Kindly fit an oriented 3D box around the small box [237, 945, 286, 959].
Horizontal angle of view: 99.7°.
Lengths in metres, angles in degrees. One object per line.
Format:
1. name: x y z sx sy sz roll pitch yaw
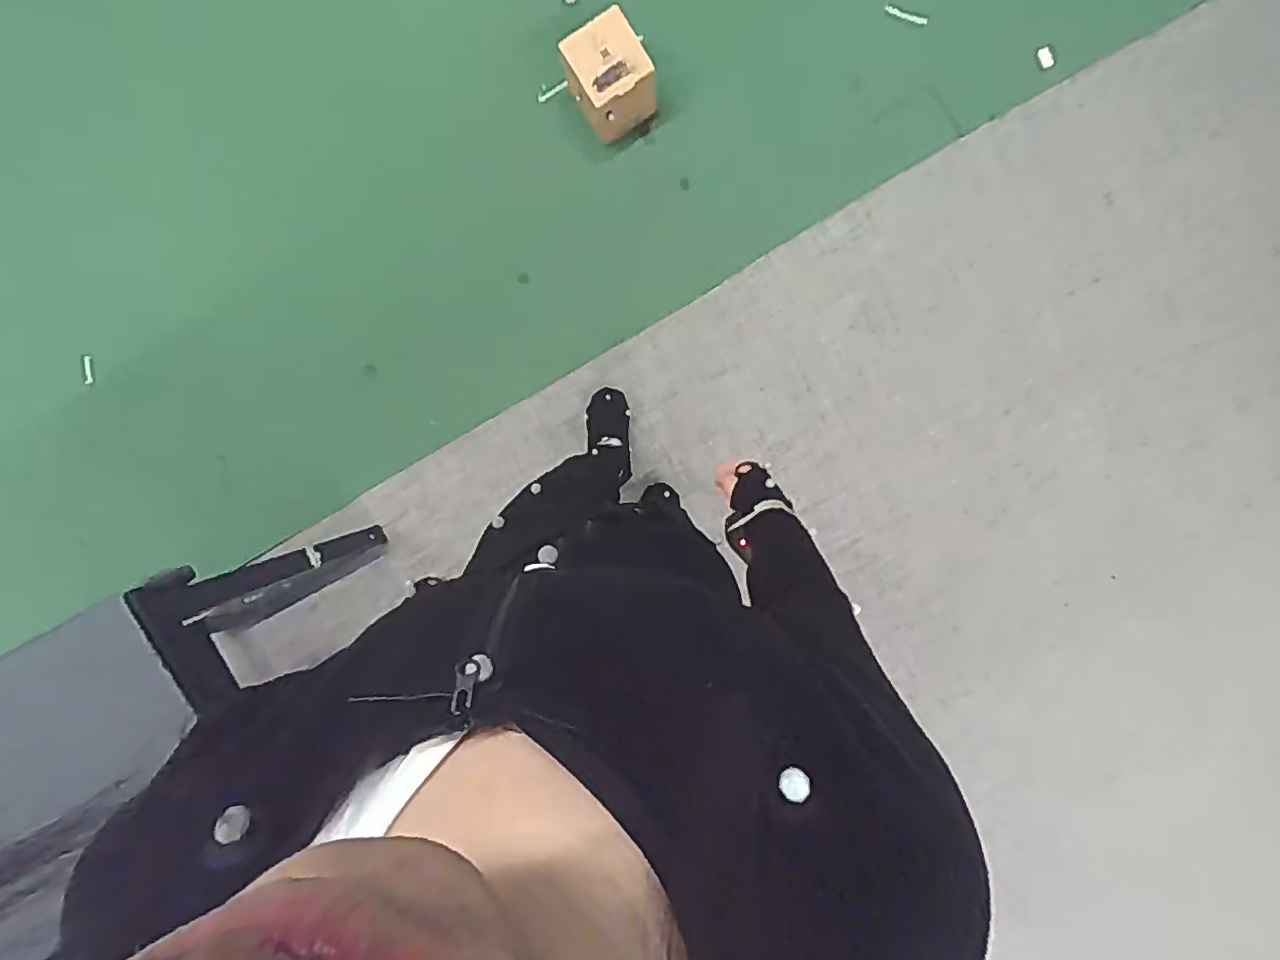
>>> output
1. small box: -0.602 0.824 0.759 0.179 0.176 0.168 -30 93 3
